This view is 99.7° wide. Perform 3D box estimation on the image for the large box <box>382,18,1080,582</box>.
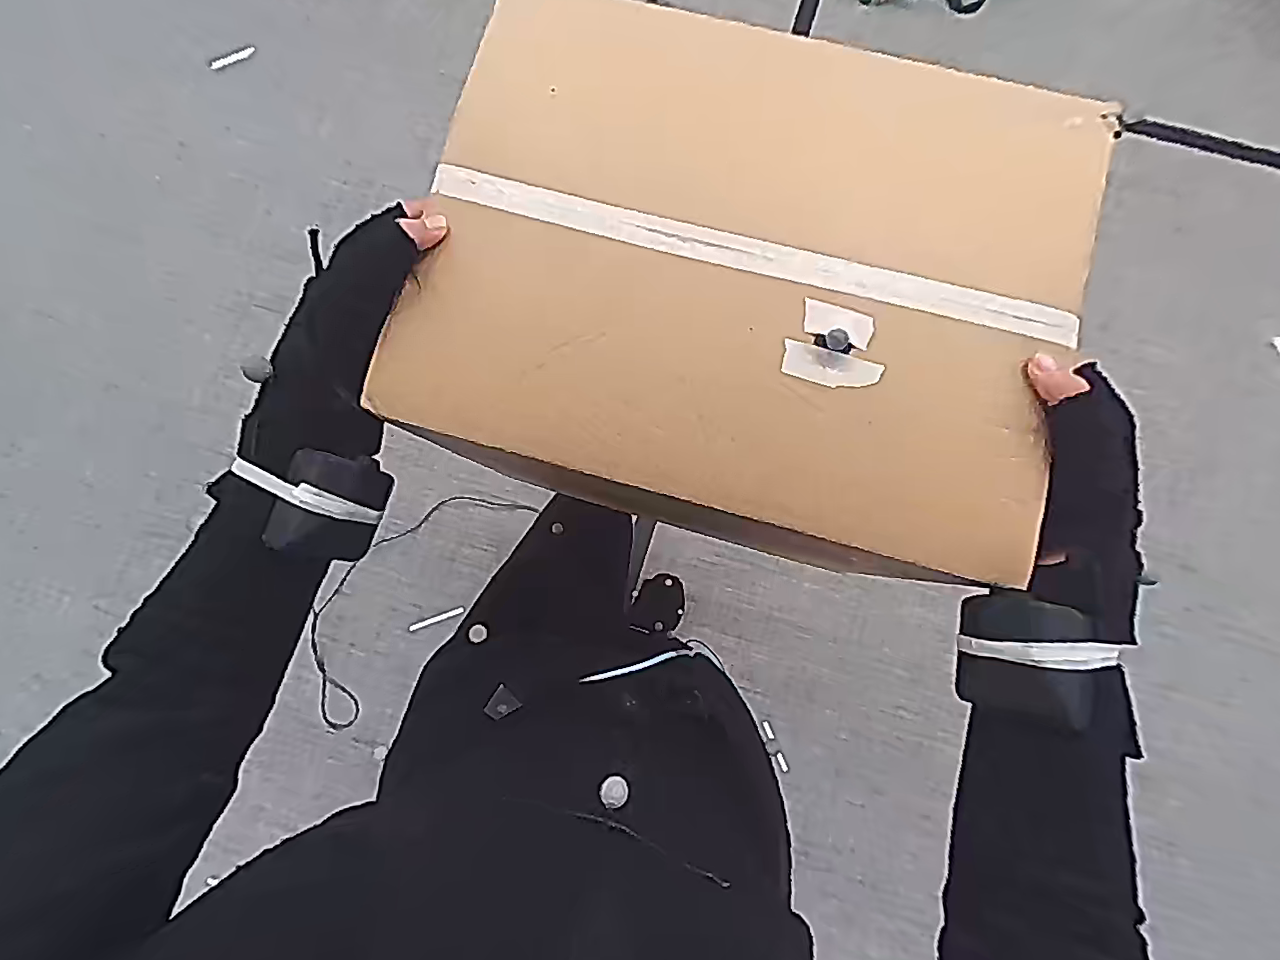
[{"bbox_3d":[0.065,-0.113,0.497,0.408,0.320,0.320,15,84,3],"label":"large box"}]
